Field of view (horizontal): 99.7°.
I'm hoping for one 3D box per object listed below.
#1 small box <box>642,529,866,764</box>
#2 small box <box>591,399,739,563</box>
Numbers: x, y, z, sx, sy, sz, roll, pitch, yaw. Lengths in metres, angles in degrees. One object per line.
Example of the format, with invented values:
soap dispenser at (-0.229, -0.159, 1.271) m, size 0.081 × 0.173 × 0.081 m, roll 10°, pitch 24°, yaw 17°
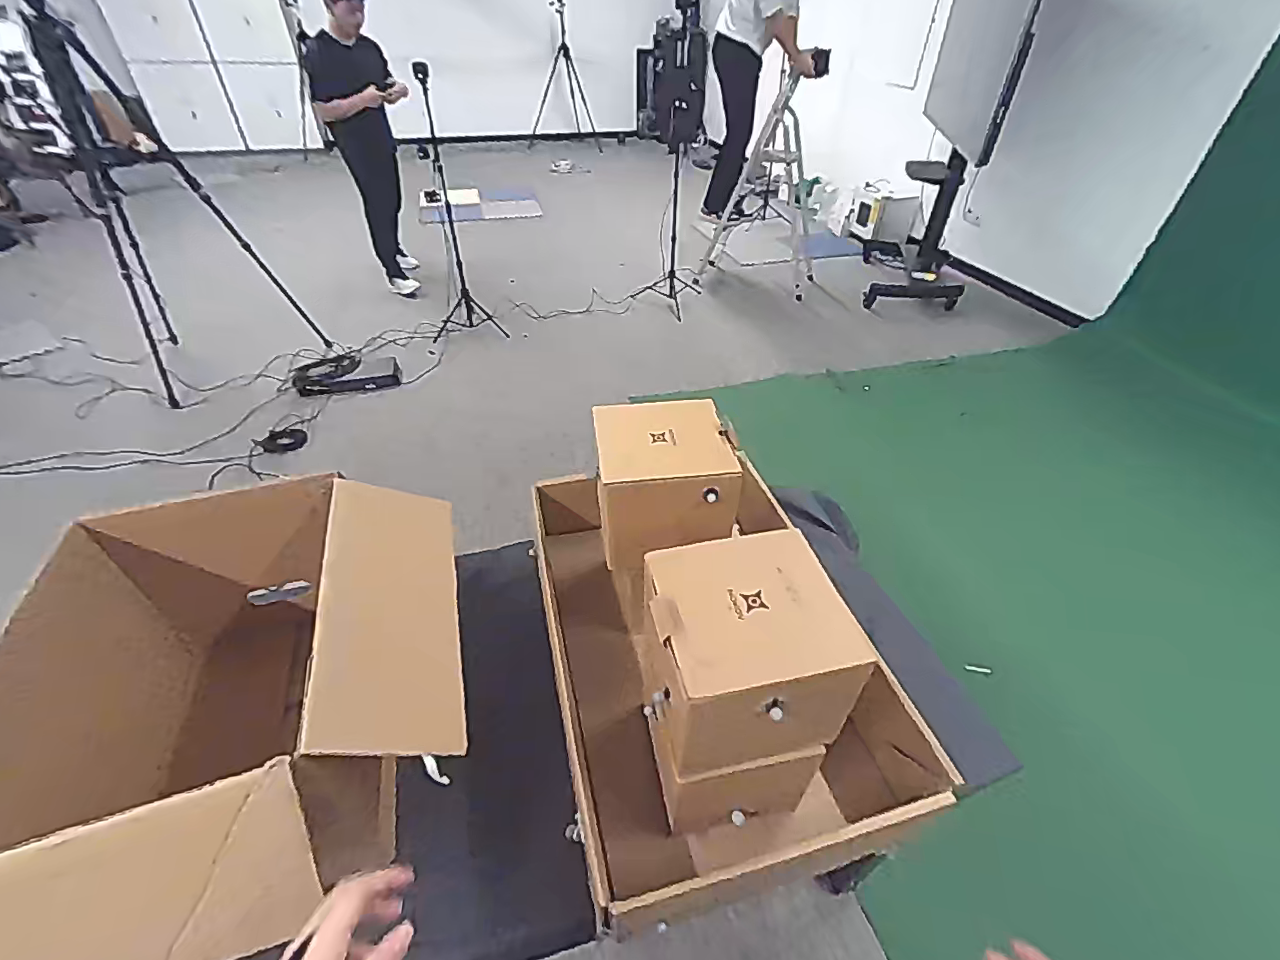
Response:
small box at (0.103, 0.178, 0.578) m, size 0.179 × 0.176 × 0.168 m, roll -7°, pitch 43°, yaw -10°
small box at (0.027, 0.003, 0.770) m, size 0.179 × 0.176 × 0.168 m, roll -4°, pitch 43°, yaw -7°
